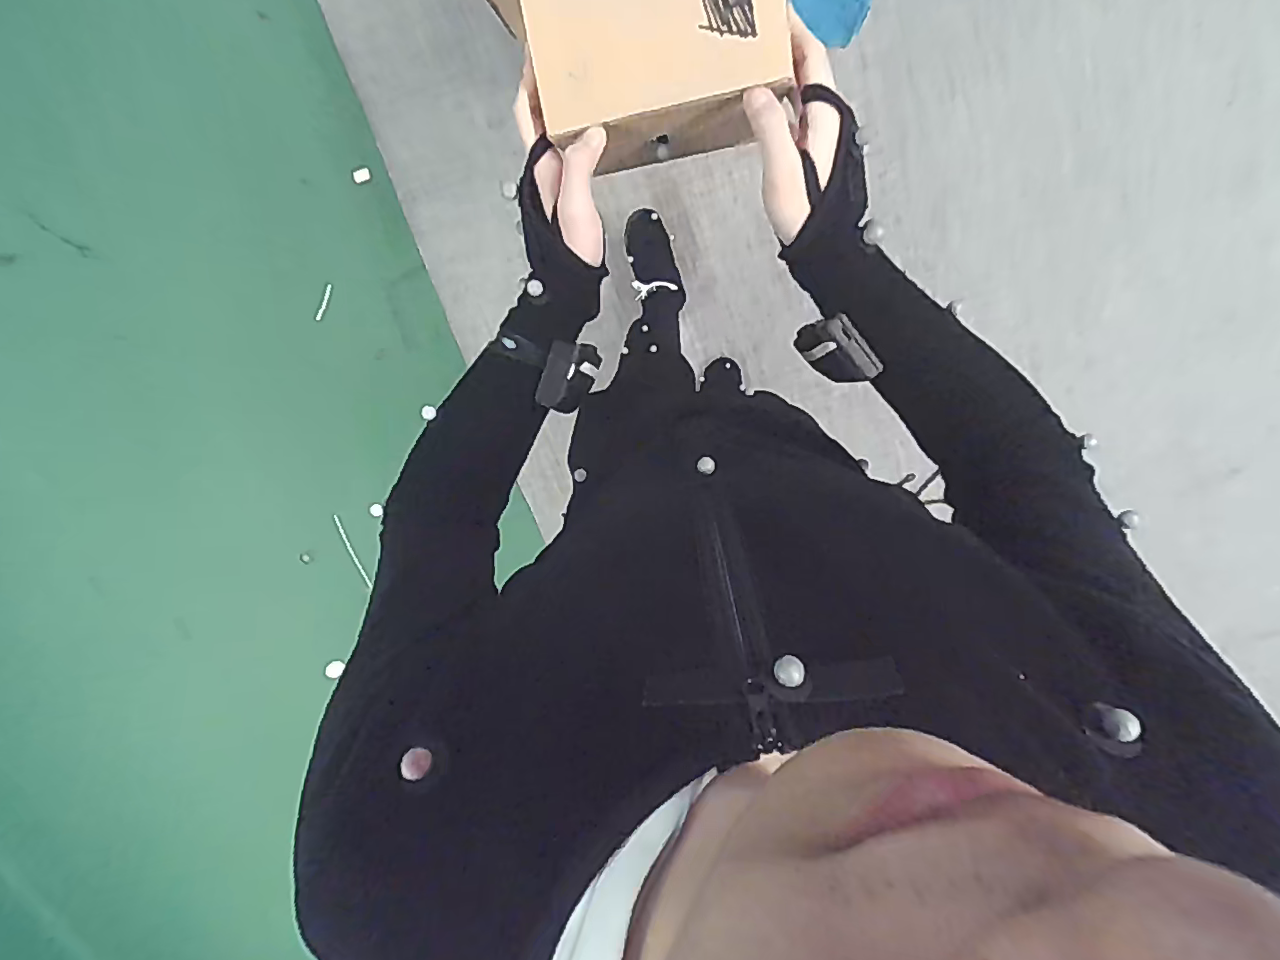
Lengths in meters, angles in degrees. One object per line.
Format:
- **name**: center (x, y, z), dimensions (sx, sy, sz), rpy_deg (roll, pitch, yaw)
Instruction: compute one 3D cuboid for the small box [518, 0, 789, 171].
- **small box**: center (0.010, -0.363, 0.423), dimensions (0.179, 0.176, 0.168), rpy_deg (-7, 108, 9)
